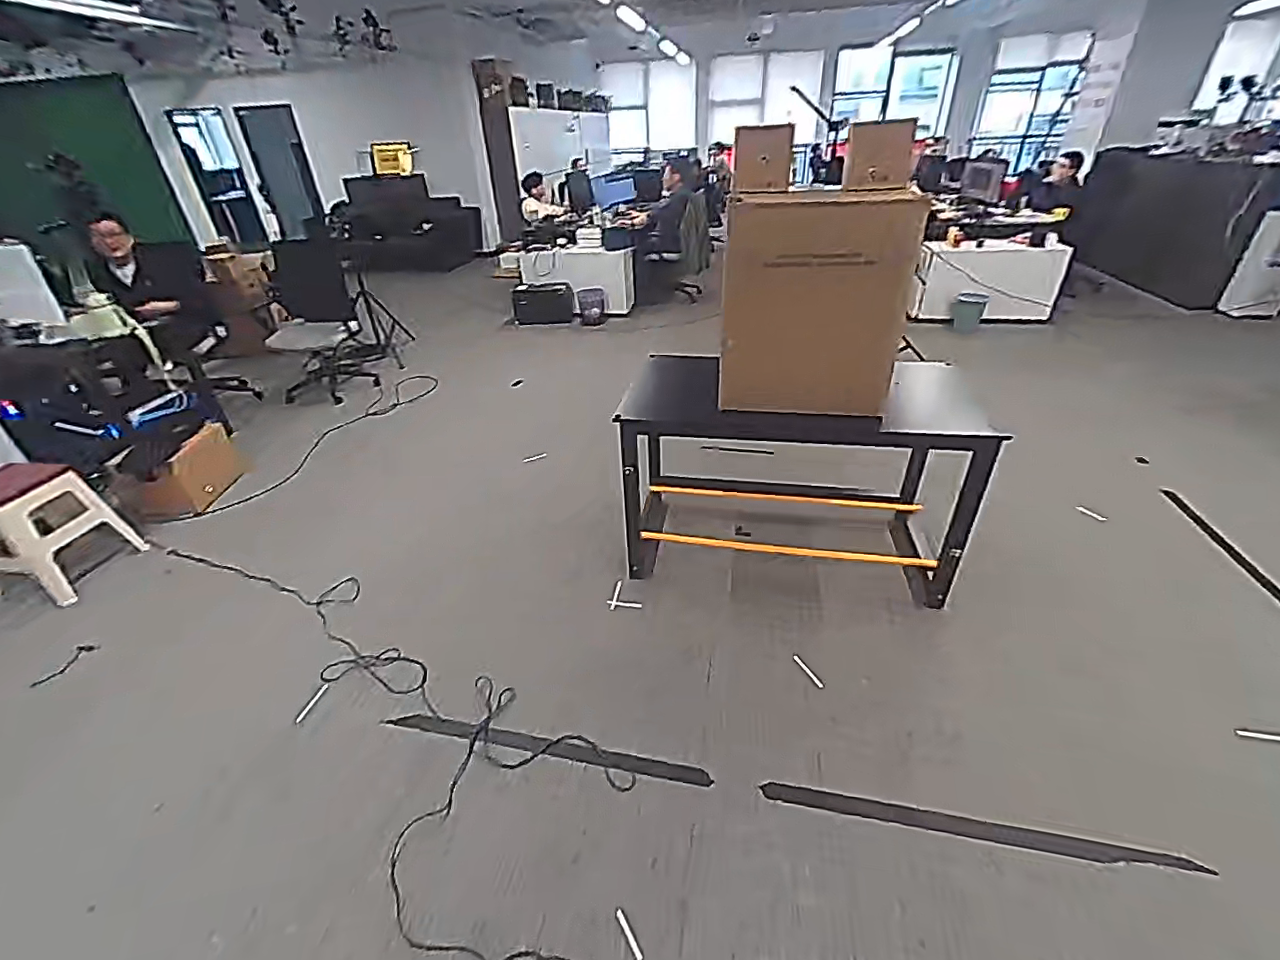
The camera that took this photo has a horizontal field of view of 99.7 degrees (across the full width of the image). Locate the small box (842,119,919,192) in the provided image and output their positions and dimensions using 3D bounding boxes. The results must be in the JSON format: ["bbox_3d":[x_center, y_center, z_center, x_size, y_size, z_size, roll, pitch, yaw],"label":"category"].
[{"bbox_3d":[0.681,-0.927,1.552,0.168,0.176,0.179,3,32,14],"label":"small box"}]

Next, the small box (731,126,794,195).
[{"bbox_3d":[0.361,-0.954,1.617,0.168,0.176,0.179,2,33,6],"label":"small box"}]
